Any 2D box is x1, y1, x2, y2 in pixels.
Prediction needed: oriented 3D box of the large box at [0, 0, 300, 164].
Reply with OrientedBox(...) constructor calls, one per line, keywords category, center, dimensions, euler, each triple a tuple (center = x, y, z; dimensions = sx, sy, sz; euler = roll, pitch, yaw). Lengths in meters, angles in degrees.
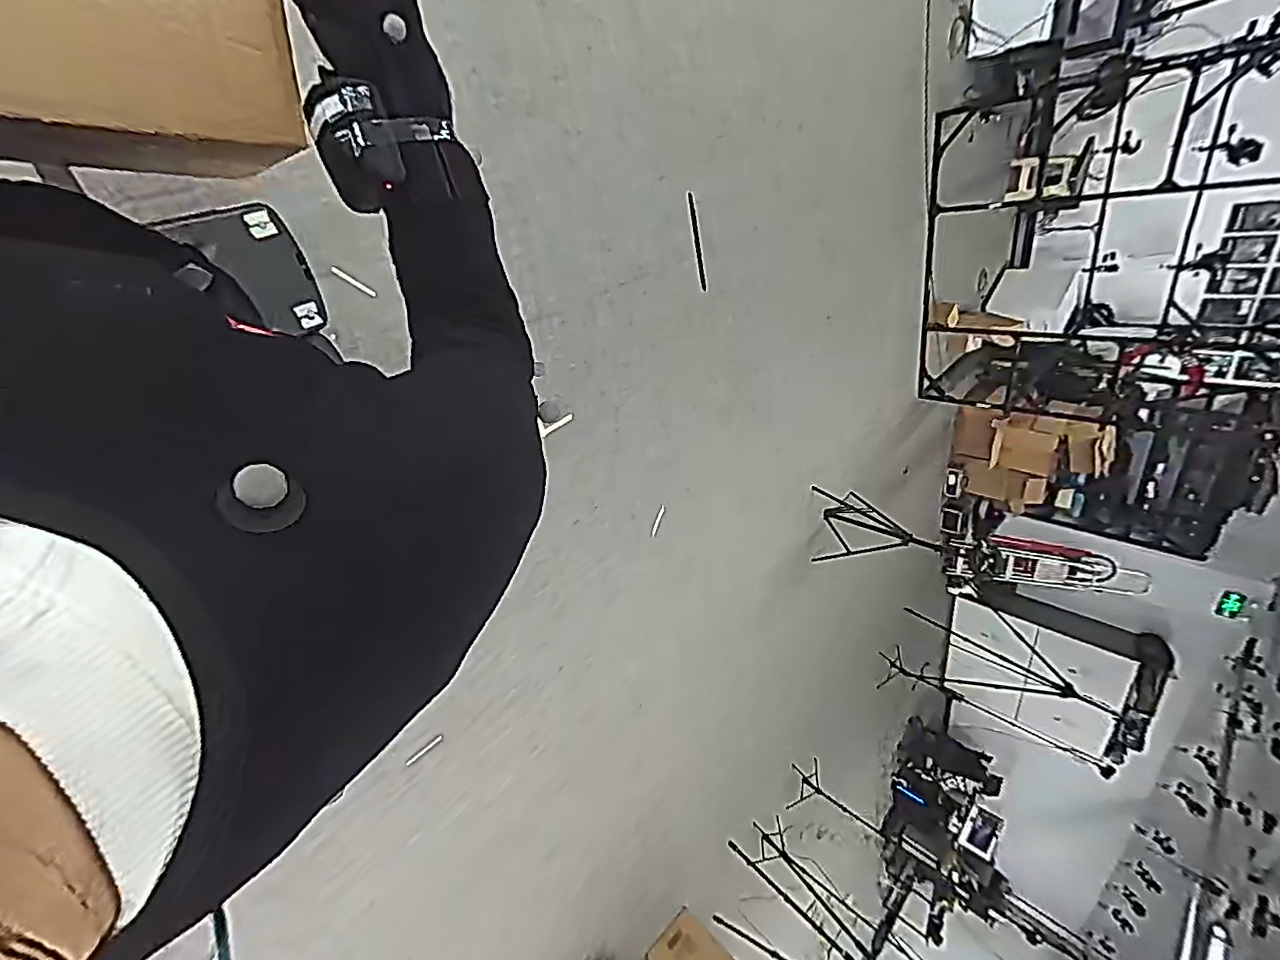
OrientedBox(category="large box", center=(-0.468, -0.367, 0.282), dimensions=(0.408, 0.320, 0.320), euler=(-17, 122, -37))
